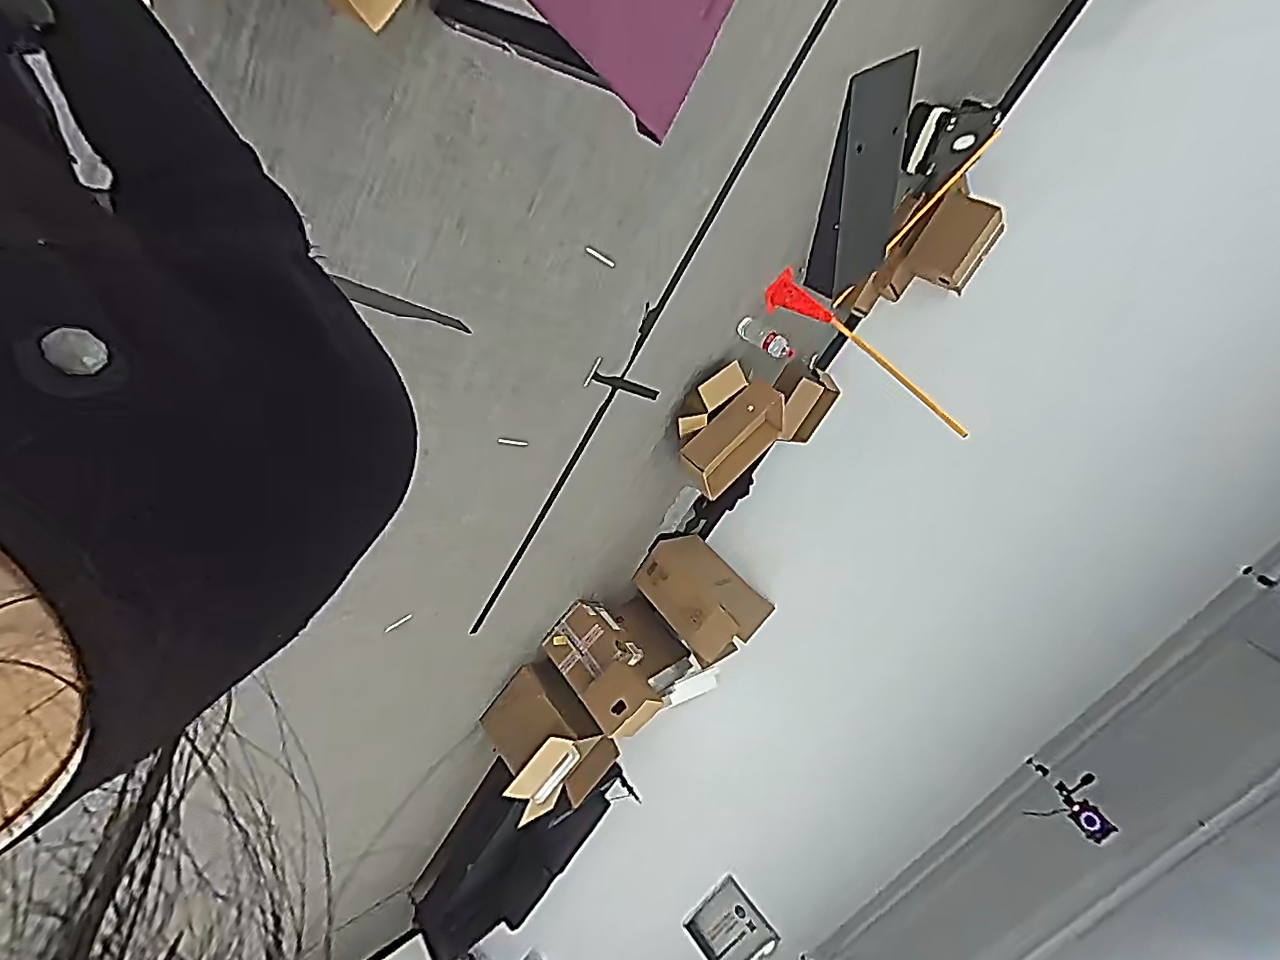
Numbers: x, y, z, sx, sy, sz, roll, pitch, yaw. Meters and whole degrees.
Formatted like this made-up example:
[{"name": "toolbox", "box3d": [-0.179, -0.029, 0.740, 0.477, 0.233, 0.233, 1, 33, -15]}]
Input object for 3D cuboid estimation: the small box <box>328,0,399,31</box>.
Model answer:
[{"name": "small box", "box3d": [-0.537, -0.981, 0.982, 0.168, 0.176, 0.179, -49, 151, 3]}]
